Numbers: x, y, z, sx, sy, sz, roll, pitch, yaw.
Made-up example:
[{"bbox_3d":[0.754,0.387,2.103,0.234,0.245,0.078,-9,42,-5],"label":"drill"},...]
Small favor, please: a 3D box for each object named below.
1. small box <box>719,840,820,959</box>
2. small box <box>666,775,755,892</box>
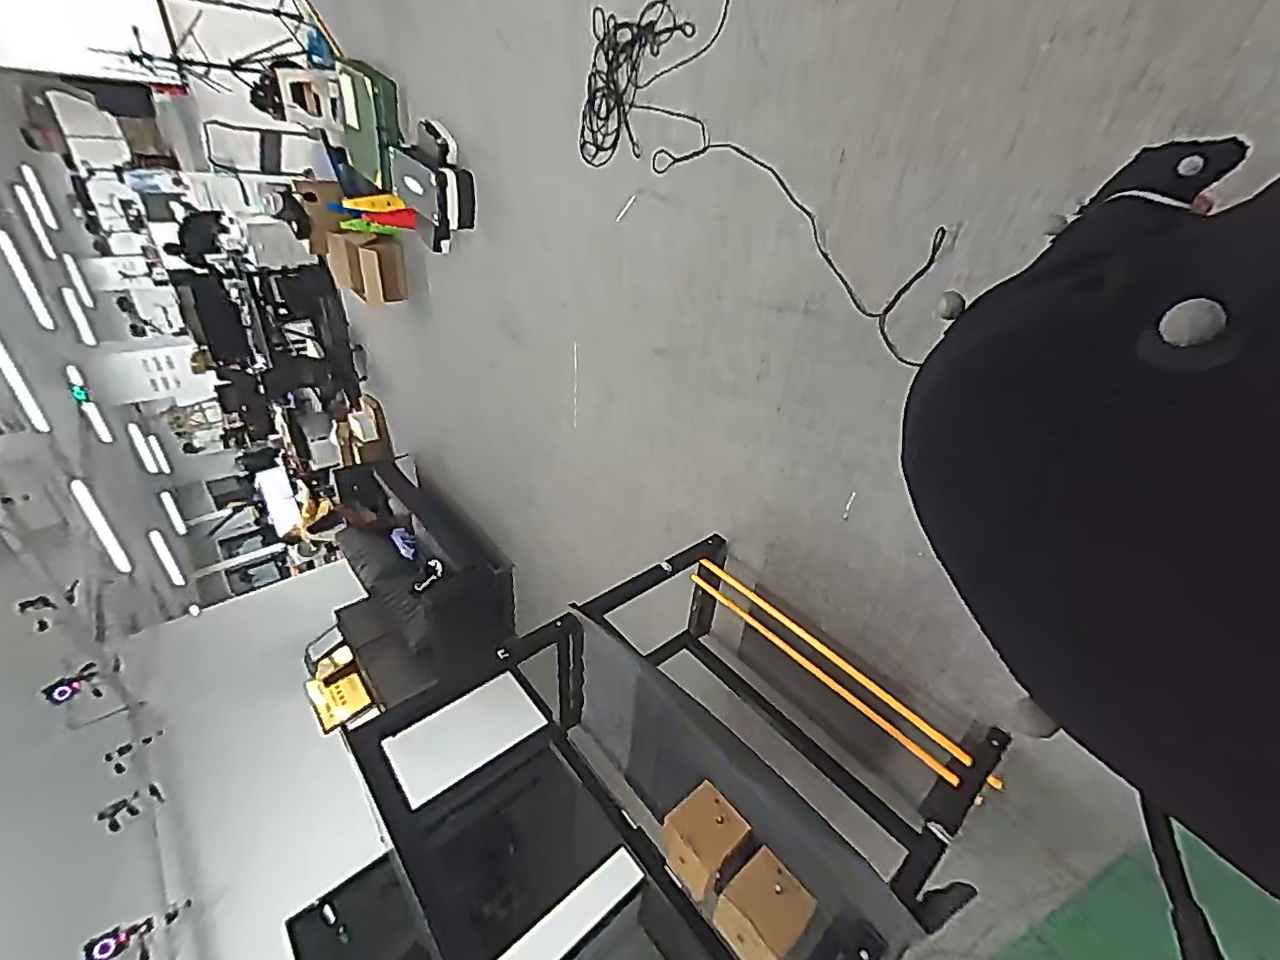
[{"bbox_3d":[0.322,1.057,1.348,0.168,0.176,0.179,34,133,38],"label":"small box"},{"bbox_3d":[0.191,0.957,1.474,0.168,0.176,0.179,35,133,38],"label":"small box"}]
